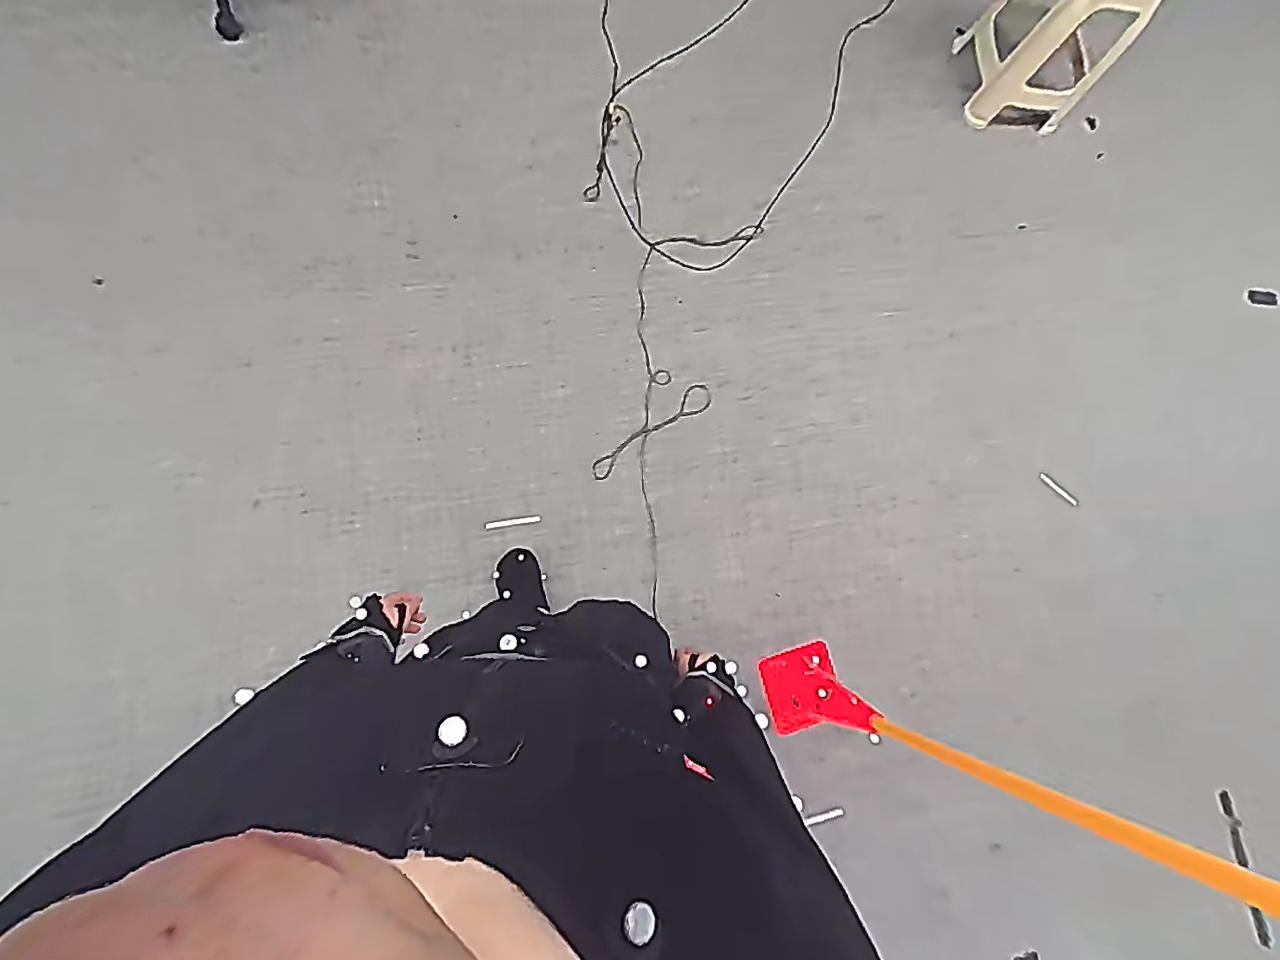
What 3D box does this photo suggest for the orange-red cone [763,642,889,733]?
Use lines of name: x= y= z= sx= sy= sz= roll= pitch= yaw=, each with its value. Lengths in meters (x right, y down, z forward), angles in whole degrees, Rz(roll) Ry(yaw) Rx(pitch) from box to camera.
orange-red cone: x=0.451 y=0.506 z=1.232 sx=0.199 sy=0.360 sz=0.198 roll=-14 pitch=82 yaw=-9
